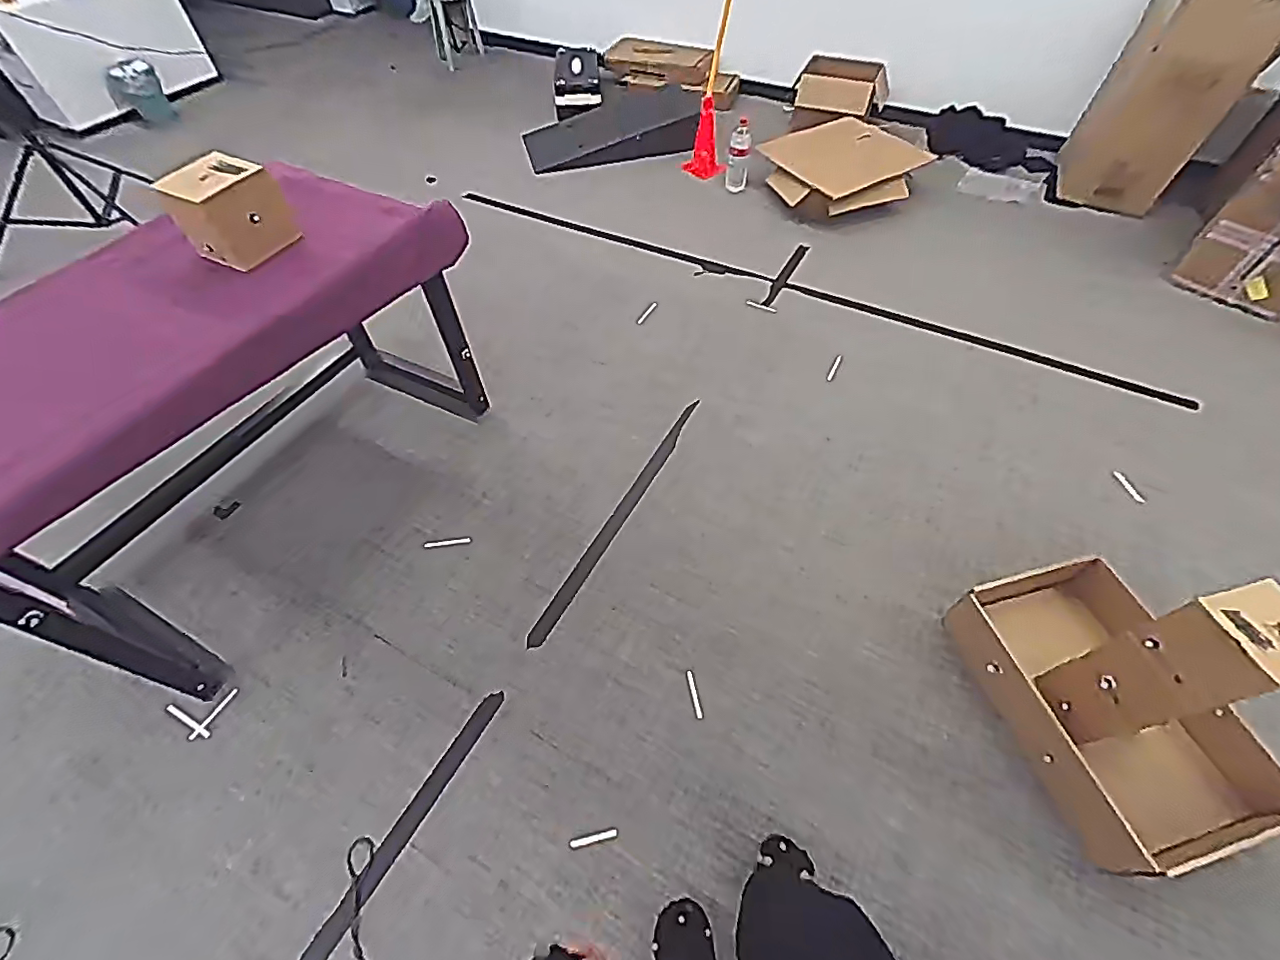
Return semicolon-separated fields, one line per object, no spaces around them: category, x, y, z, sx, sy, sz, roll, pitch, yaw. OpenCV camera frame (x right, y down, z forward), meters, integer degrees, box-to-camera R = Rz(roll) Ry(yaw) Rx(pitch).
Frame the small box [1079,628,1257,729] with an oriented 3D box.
small box;1.098;0.407;1.141;0.179;0.176;0.168;-11;54;-7

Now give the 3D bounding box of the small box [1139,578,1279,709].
small box;1.102;0.309;1.010;0.179;0.176;0.168;-11;54;-9

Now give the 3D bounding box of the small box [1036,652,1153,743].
small box;1.097;0.502;1.273;0.179;0.176;0.168;-10;54;-7
